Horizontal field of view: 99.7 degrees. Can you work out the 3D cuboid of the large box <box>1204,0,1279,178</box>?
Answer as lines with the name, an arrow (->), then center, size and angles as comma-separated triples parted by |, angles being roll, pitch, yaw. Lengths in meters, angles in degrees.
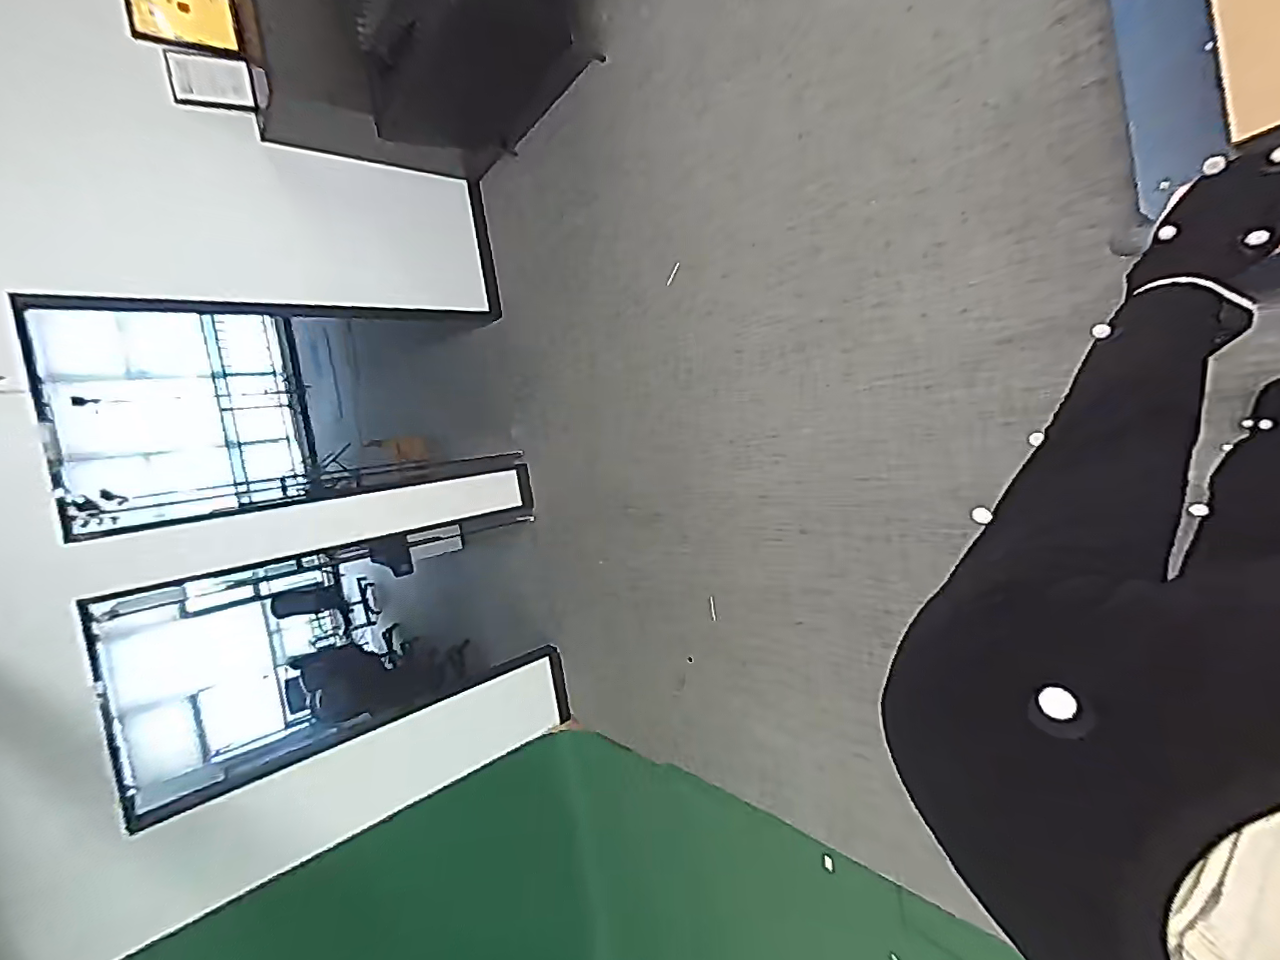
large box -> 0.994, -0.702, 0.721 | 0.320, 0.320, 0.408 | -9, 92, 51
